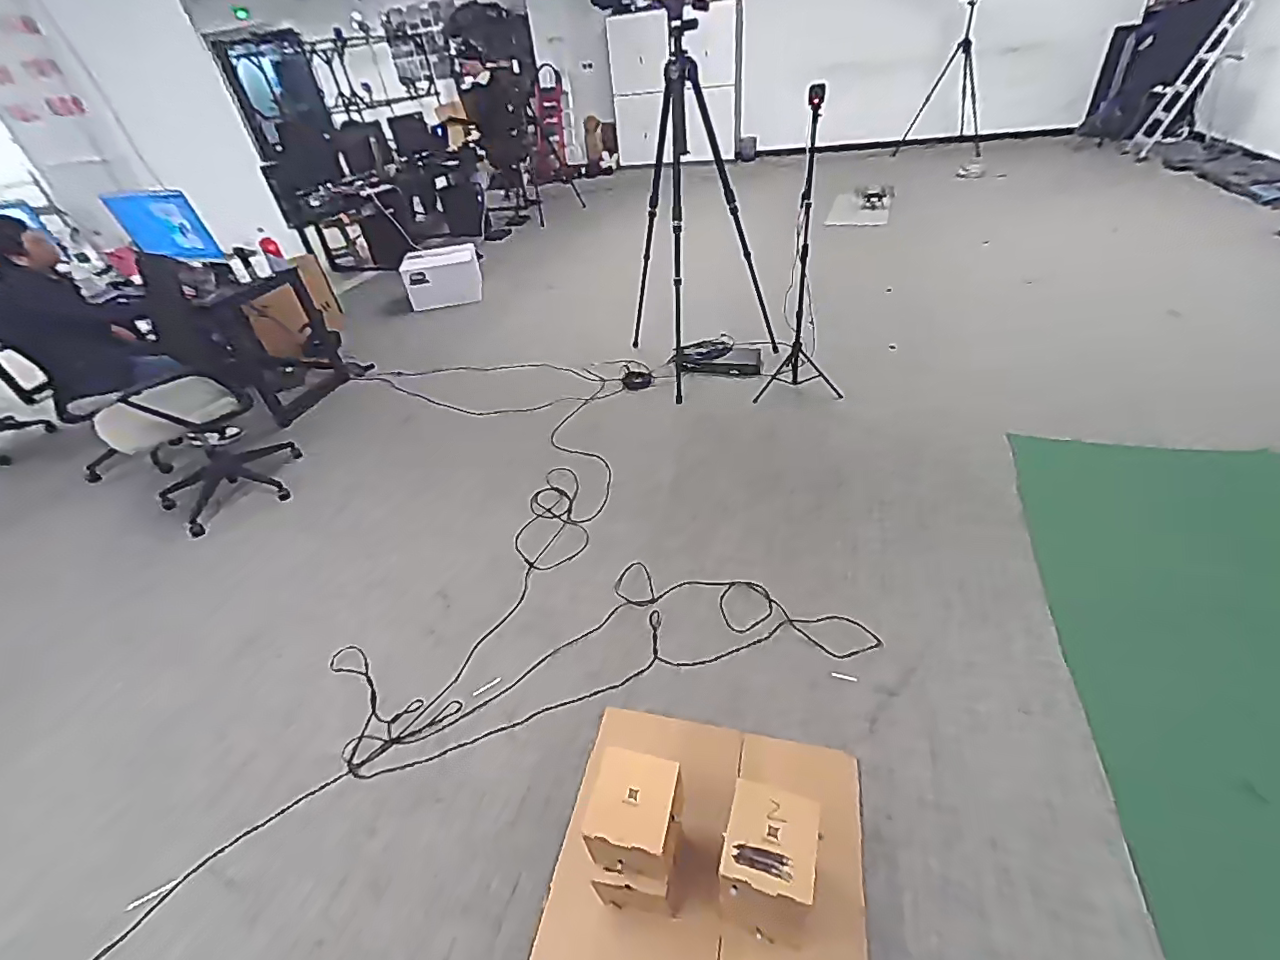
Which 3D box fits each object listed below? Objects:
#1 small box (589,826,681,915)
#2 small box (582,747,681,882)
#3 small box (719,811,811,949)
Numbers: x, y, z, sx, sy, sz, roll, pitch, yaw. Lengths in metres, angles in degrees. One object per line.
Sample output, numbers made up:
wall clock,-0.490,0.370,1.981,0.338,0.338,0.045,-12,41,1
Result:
small box,-0.003,0.848,1.224,0.168,0.176,0.179,3,40,13
small box,-0.009,0.704,1.142,0.168,0.176,0.179,5,40,15
small box,0.270,0.860,1.166,0.168,0.176,0.179,7,41,19
